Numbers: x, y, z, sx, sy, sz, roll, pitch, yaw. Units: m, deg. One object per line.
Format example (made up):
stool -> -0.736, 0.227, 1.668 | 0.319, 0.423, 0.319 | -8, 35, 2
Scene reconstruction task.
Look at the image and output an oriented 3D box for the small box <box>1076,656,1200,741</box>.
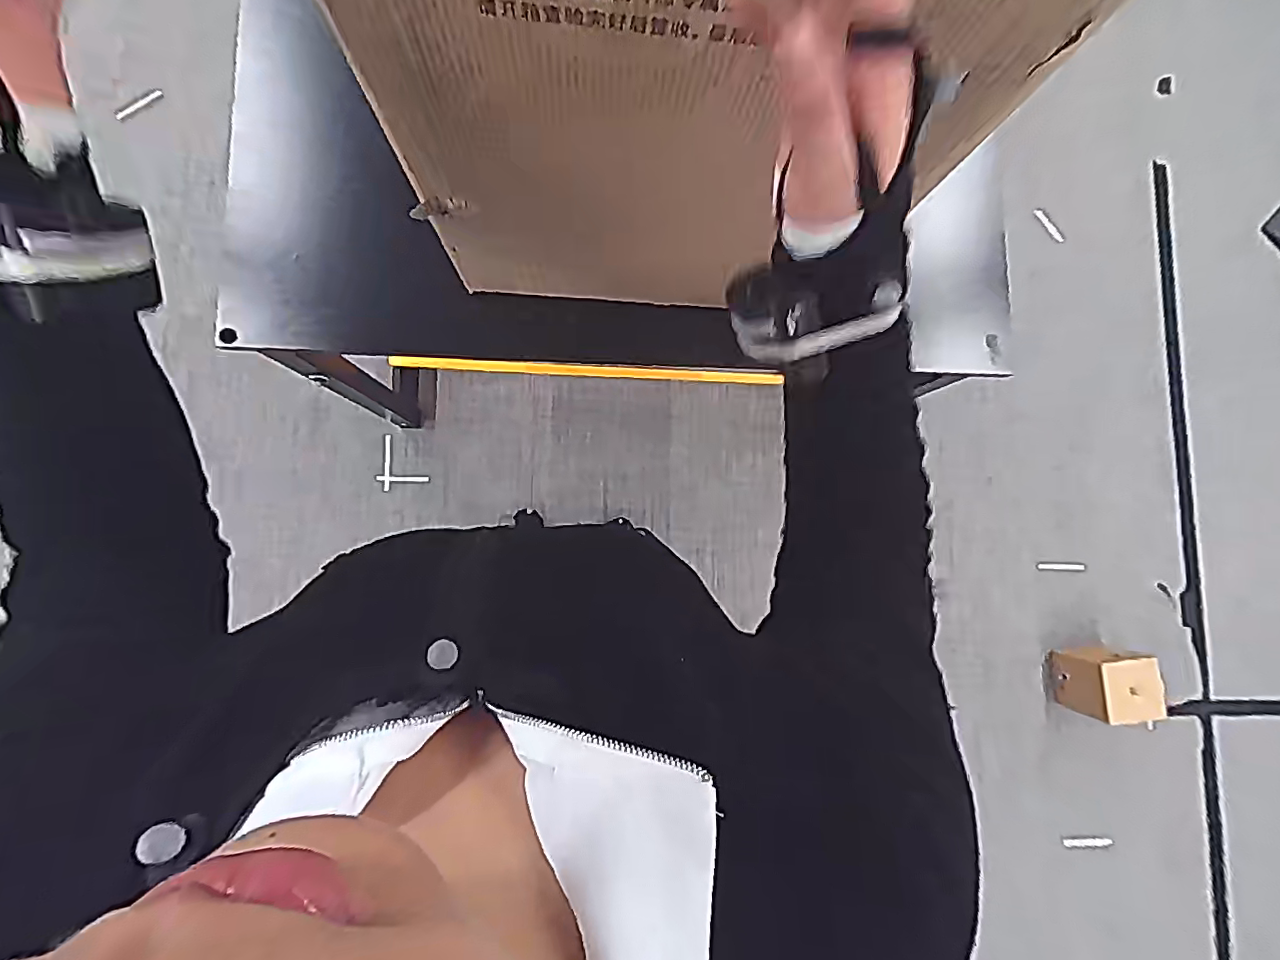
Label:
small box -> 1.349, 0.587, 1.474 | 0.179, 0.176, 0.168 | -6, 86, -5
